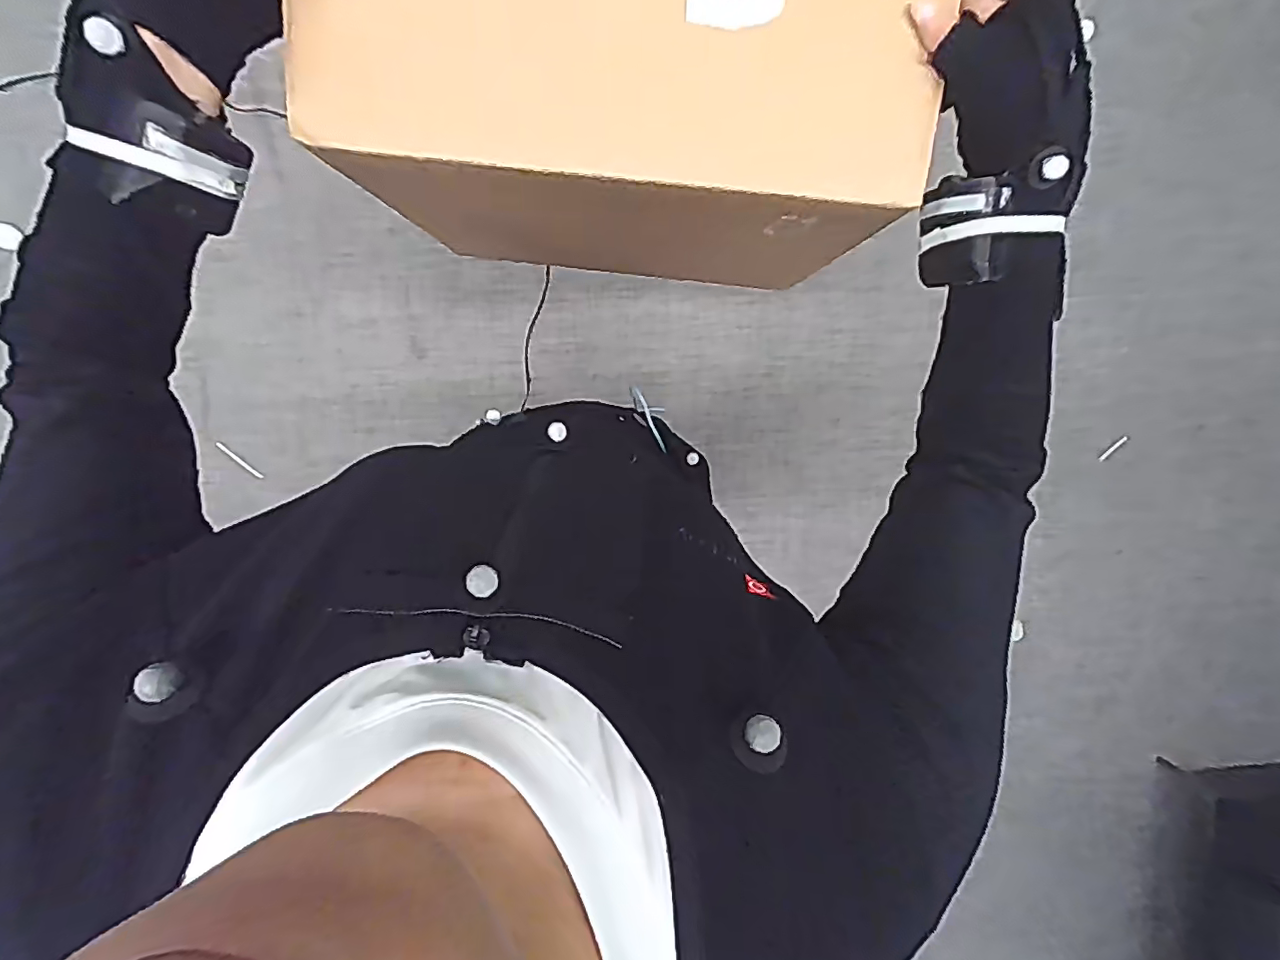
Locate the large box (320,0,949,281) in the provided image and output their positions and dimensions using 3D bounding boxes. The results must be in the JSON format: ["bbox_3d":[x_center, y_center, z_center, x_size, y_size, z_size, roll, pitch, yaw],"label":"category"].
[{"bbox_3d":[0.000,-0.377,0.479,0.408,0.320,0.320,5,101,-1],"label":"large box"}]
